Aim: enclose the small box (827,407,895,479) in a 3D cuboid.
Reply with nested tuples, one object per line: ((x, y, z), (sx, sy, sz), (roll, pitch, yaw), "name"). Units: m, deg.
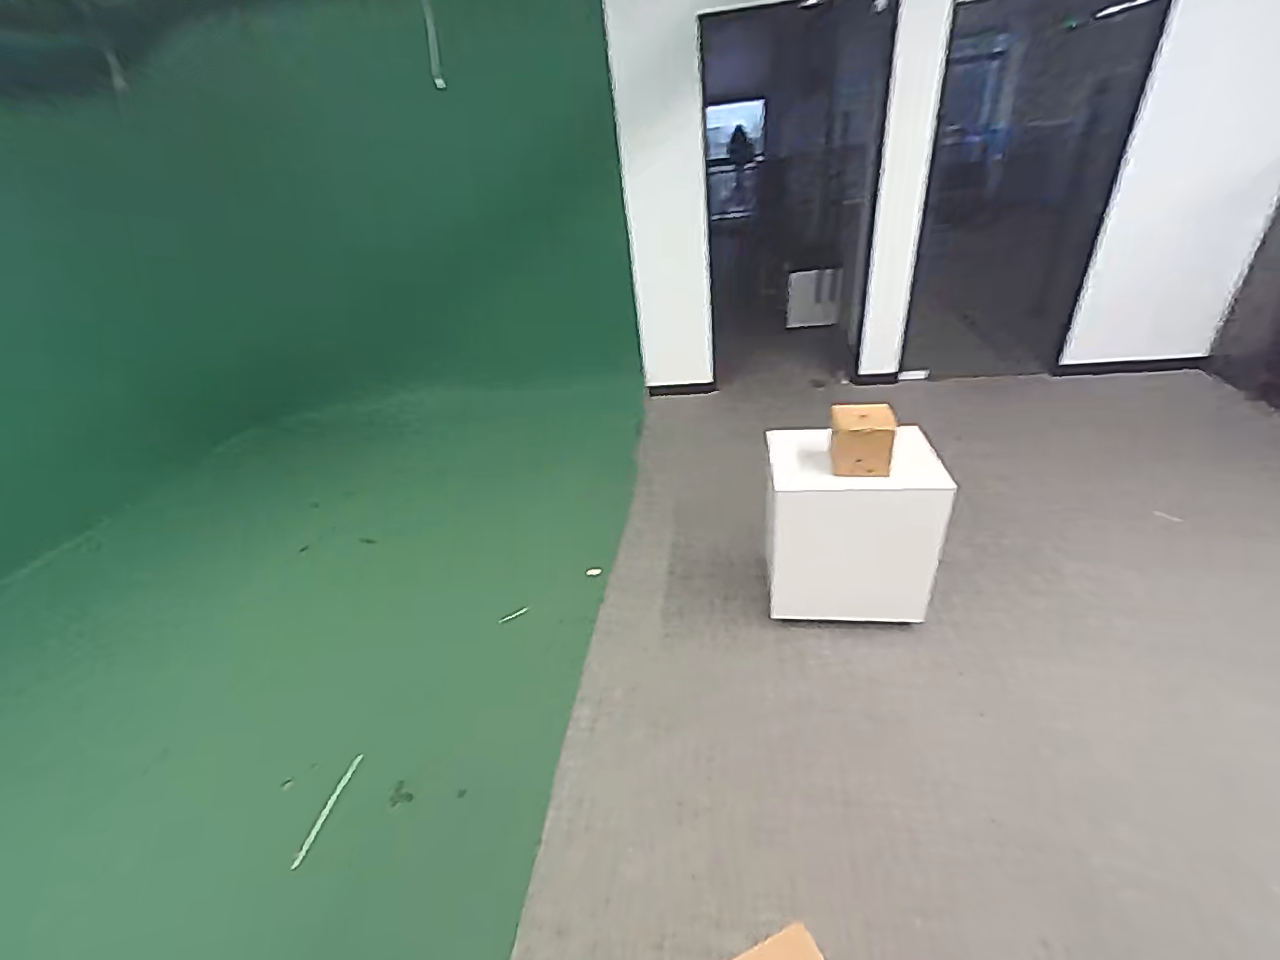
((0.683, -0.118, 1.690), (0.168, 0.176, 0.179), (0, 31, 12), "small box")
